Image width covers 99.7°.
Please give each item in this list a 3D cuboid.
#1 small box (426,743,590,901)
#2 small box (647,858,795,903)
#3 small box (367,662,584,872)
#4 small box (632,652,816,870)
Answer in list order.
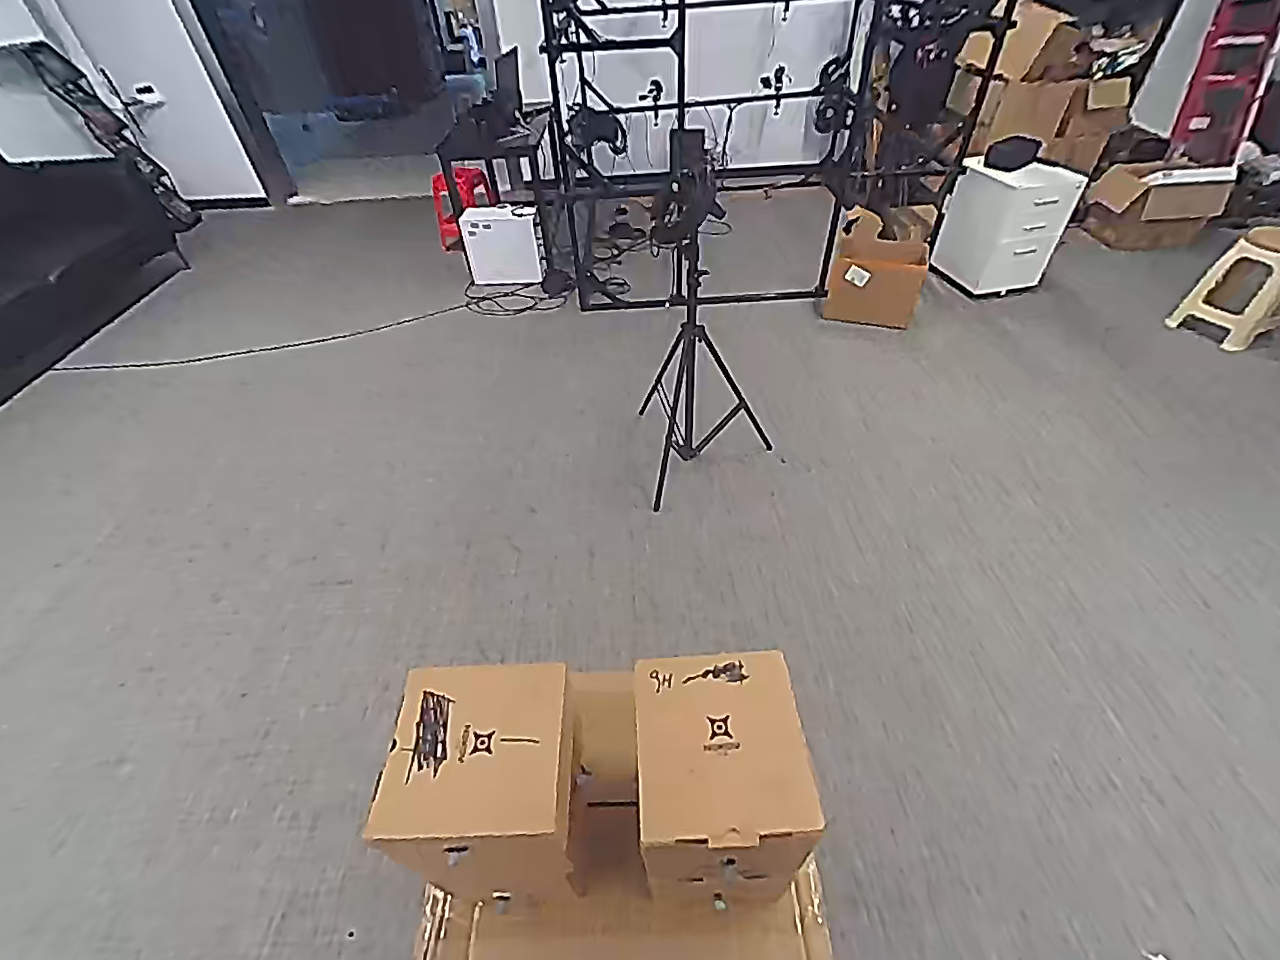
[{"bbox_3d":[-0.159,0.438,0.722,0.168,0.176,0.179,-3,46,1],"label":"small box"},{"bbox_3d":[0.094,0.430,0.710,0.168,0.176,0.179,-4,45,2],"label":"small box"},{"bbox_3d":[-0.163,0.323,0.605,0.179,0.176,0.168,-2,45,0],"label":"small box"},{"bbox_3d":[0.082,0.313,0.596,0.168,0.176,0.179,-5,45,1],"label":"small box"}]
